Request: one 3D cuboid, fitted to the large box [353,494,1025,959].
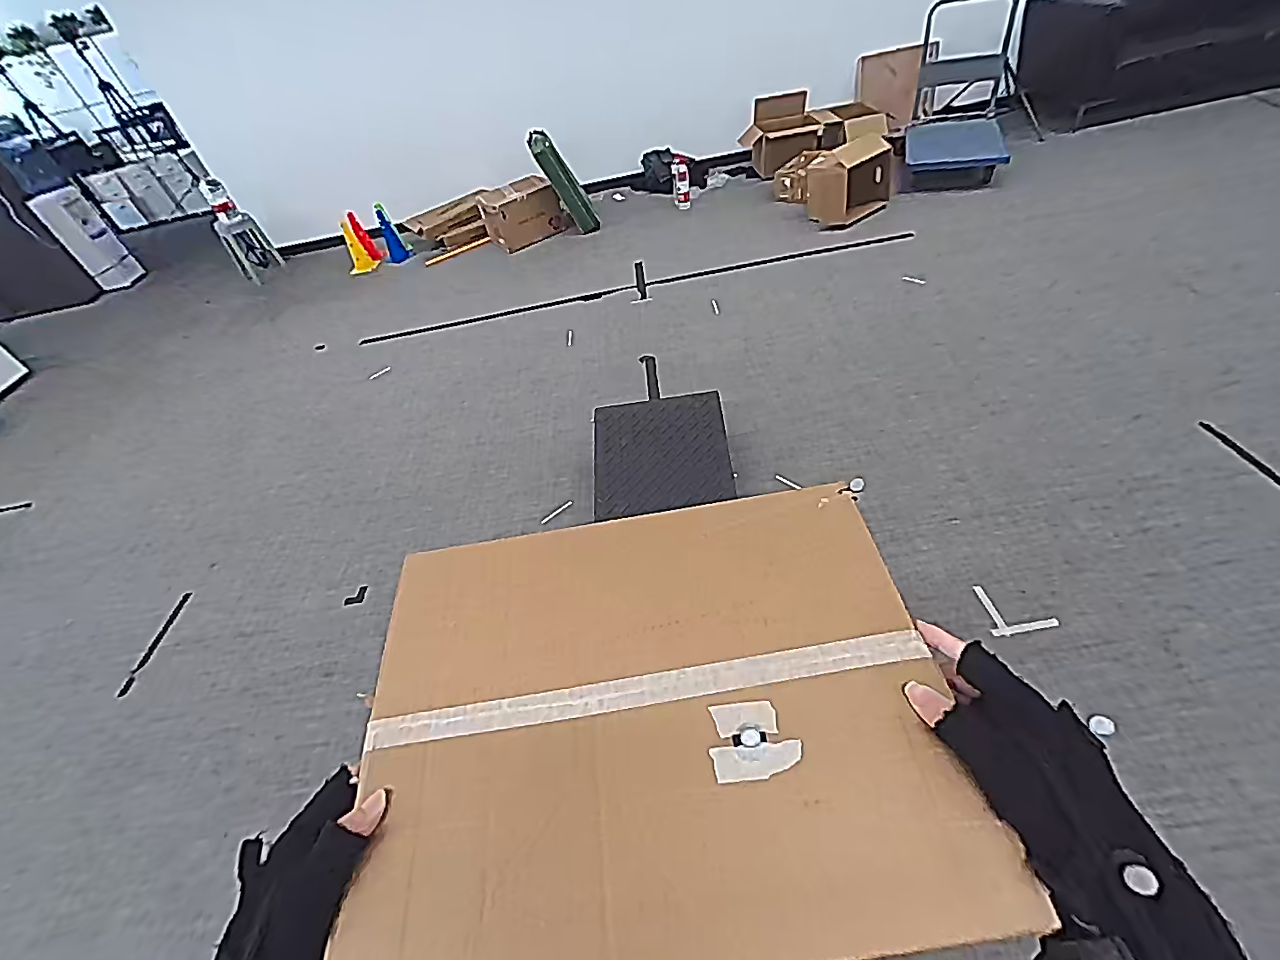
[{"bbox_3d":[0.024,0.257,0.515,0.408,0.320,0.320,-10,49,1],"label":"large box"}]
